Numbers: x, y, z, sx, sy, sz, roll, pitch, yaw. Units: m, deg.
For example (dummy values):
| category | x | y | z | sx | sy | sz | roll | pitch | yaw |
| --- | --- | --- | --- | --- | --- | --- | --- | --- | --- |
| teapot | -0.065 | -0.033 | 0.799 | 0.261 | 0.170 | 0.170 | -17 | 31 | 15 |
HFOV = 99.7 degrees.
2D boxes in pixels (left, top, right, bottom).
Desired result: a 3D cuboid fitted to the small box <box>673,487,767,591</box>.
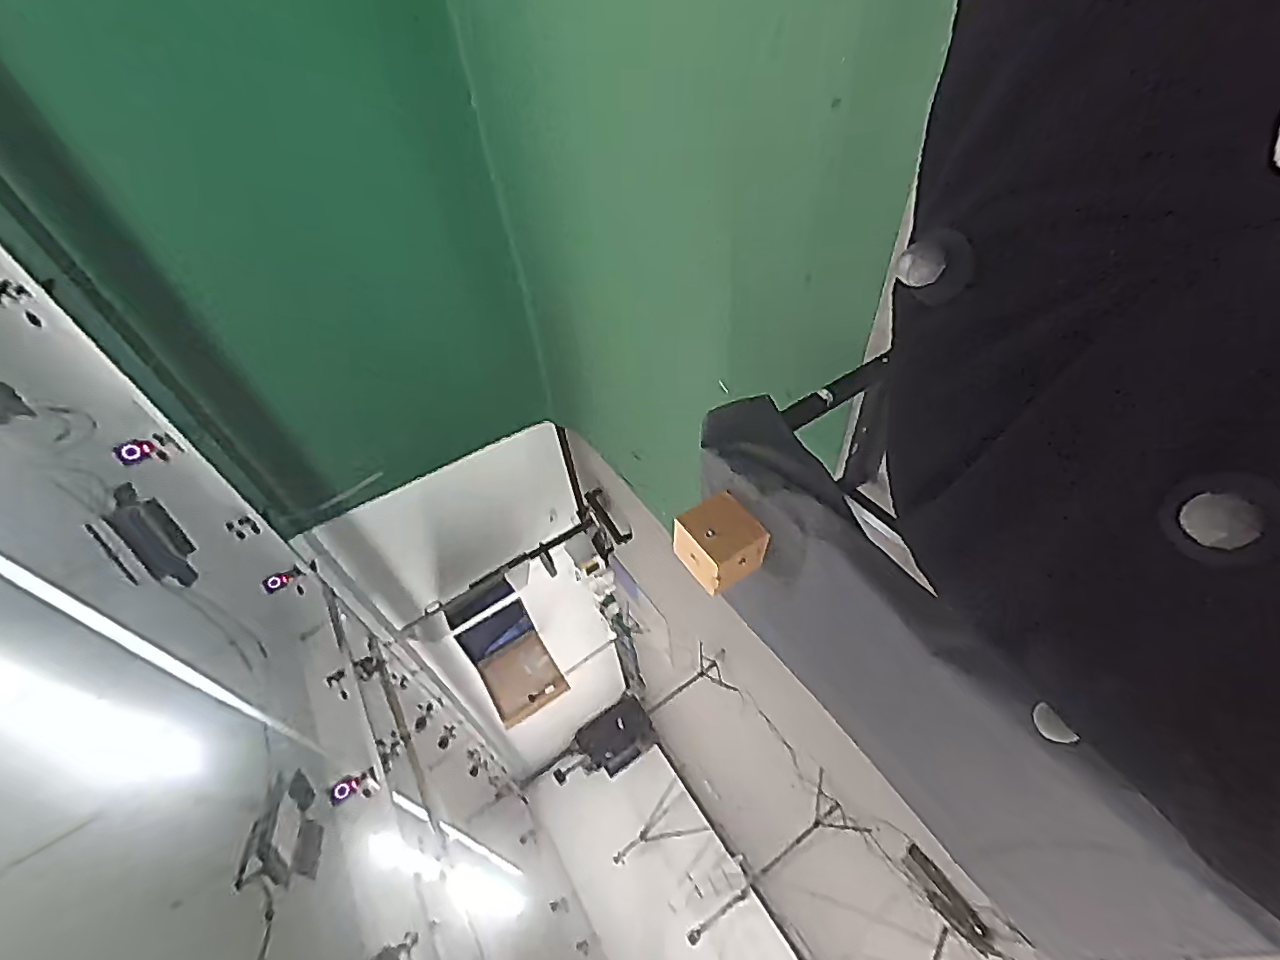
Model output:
| category | x | y | z | sx | sy | sz | roll | pitch | yaw |
| --- | --- | --- | --- | --- | --- | --- | --- | --- | --- |
| small box | 0.206 | 0.148 | 1.405 | 0.179 | 0.176 | 0.168 | 49 | 157 | 32 |
